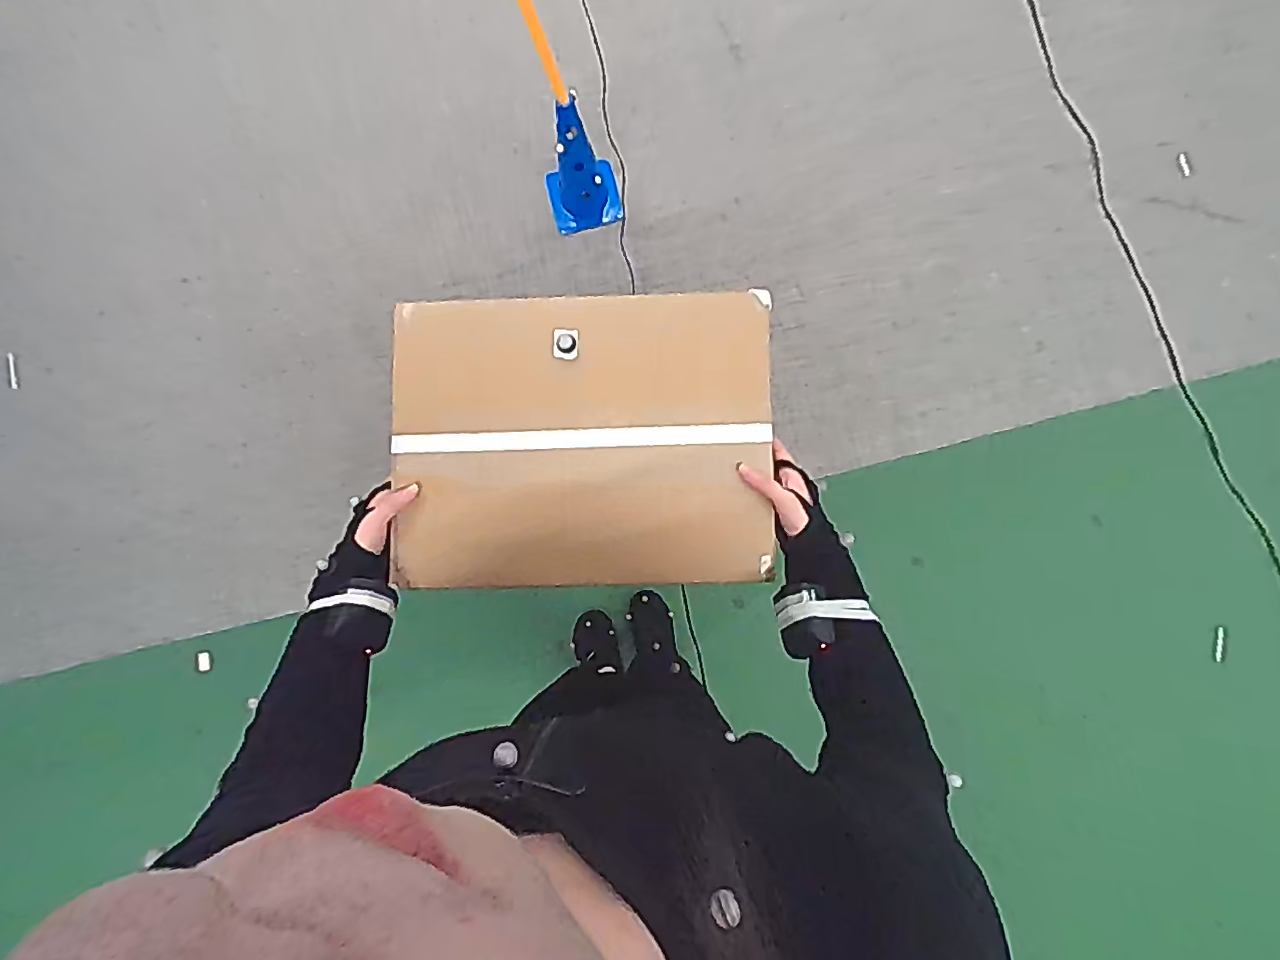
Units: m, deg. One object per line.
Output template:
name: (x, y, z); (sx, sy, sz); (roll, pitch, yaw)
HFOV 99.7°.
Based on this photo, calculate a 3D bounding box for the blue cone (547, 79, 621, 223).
blue cone: (-0.169, -0.861, 1.401); (0.193, 0.380, 0.192); (-17, 84, 1)
